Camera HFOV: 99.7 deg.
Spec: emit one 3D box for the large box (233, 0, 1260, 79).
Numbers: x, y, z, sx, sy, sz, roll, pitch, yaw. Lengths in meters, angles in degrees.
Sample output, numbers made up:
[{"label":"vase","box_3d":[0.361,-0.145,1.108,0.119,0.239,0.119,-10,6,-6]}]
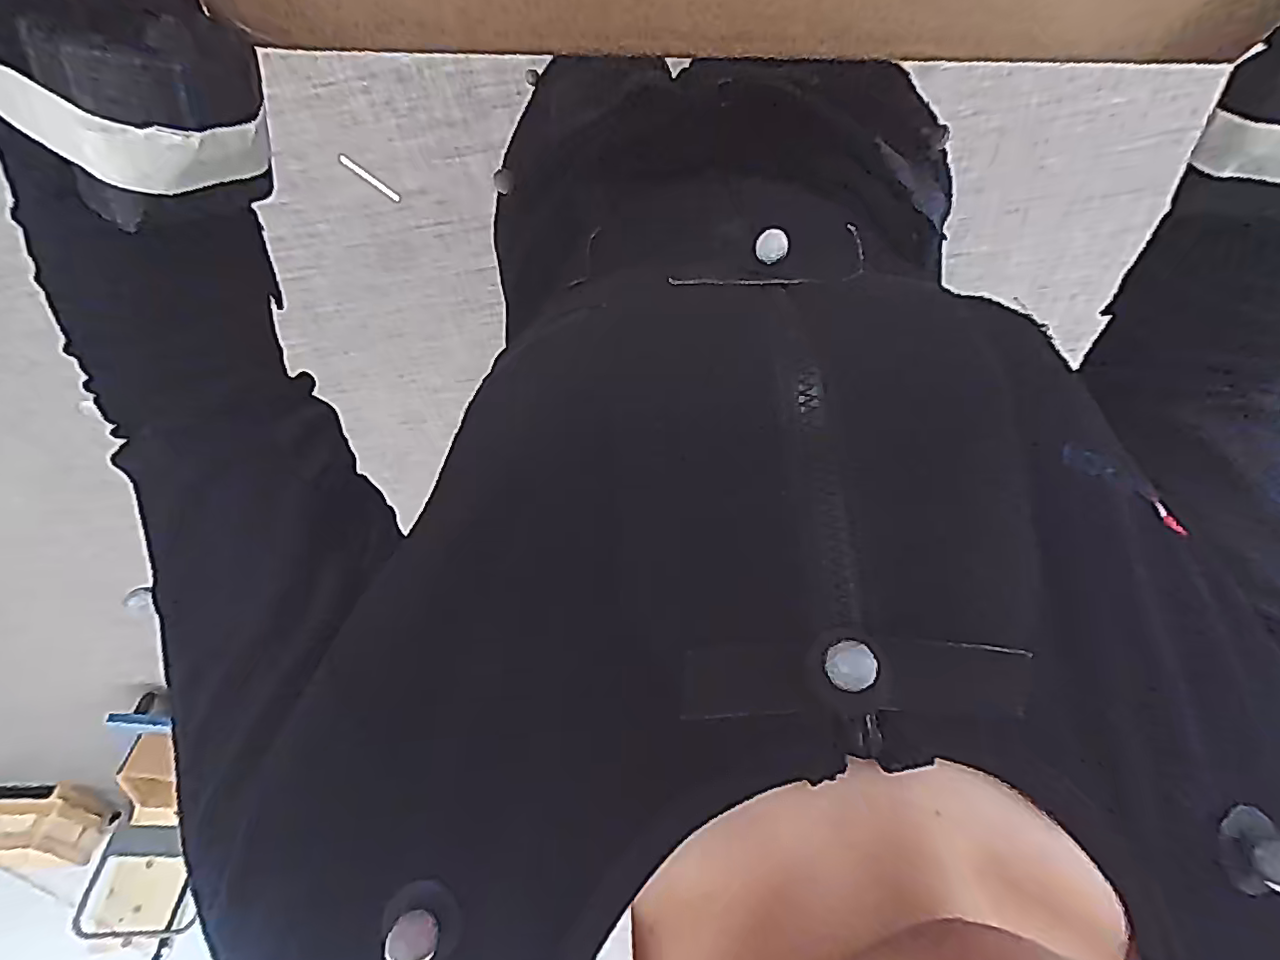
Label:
[{"label":"large box","box_3d":[0.049,-0.361,0.132,0.408,0.320,0.320,-3,161,-5]}]
